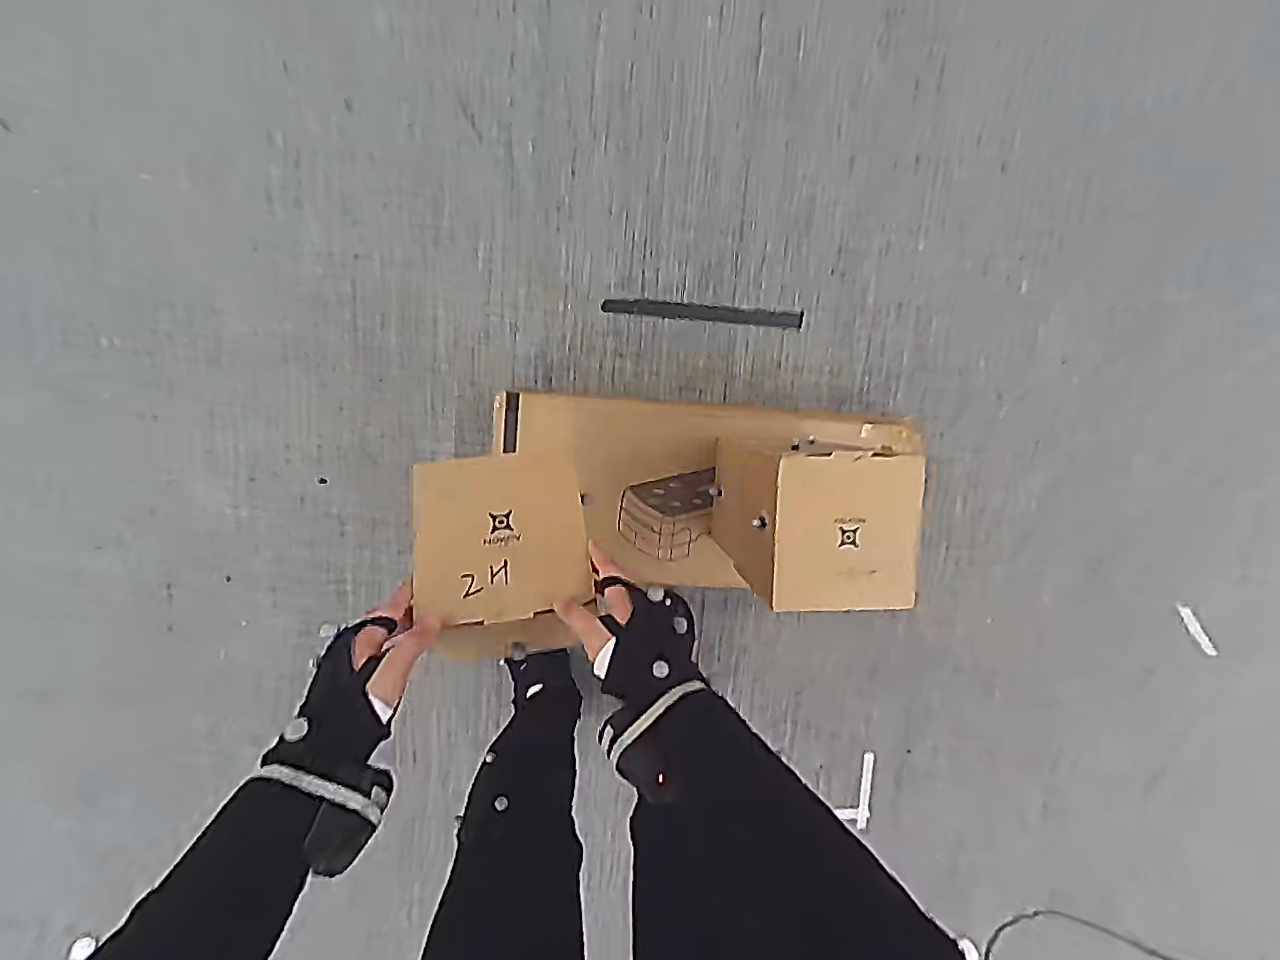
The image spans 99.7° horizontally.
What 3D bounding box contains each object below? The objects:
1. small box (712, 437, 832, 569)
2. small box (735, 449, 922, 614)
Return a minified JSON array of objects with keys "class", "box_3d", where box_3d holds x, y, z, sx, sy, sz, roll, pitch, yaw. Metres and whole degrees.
[{"class":"small box","box_3d":[0.213,0.031,0.834,0.168,0.176,0.179,2,98,-7]},{"class":"small box","box_3d":[0.220,0.052,0.673,0.168,0.176,0.179,-1,98,-5]}]
